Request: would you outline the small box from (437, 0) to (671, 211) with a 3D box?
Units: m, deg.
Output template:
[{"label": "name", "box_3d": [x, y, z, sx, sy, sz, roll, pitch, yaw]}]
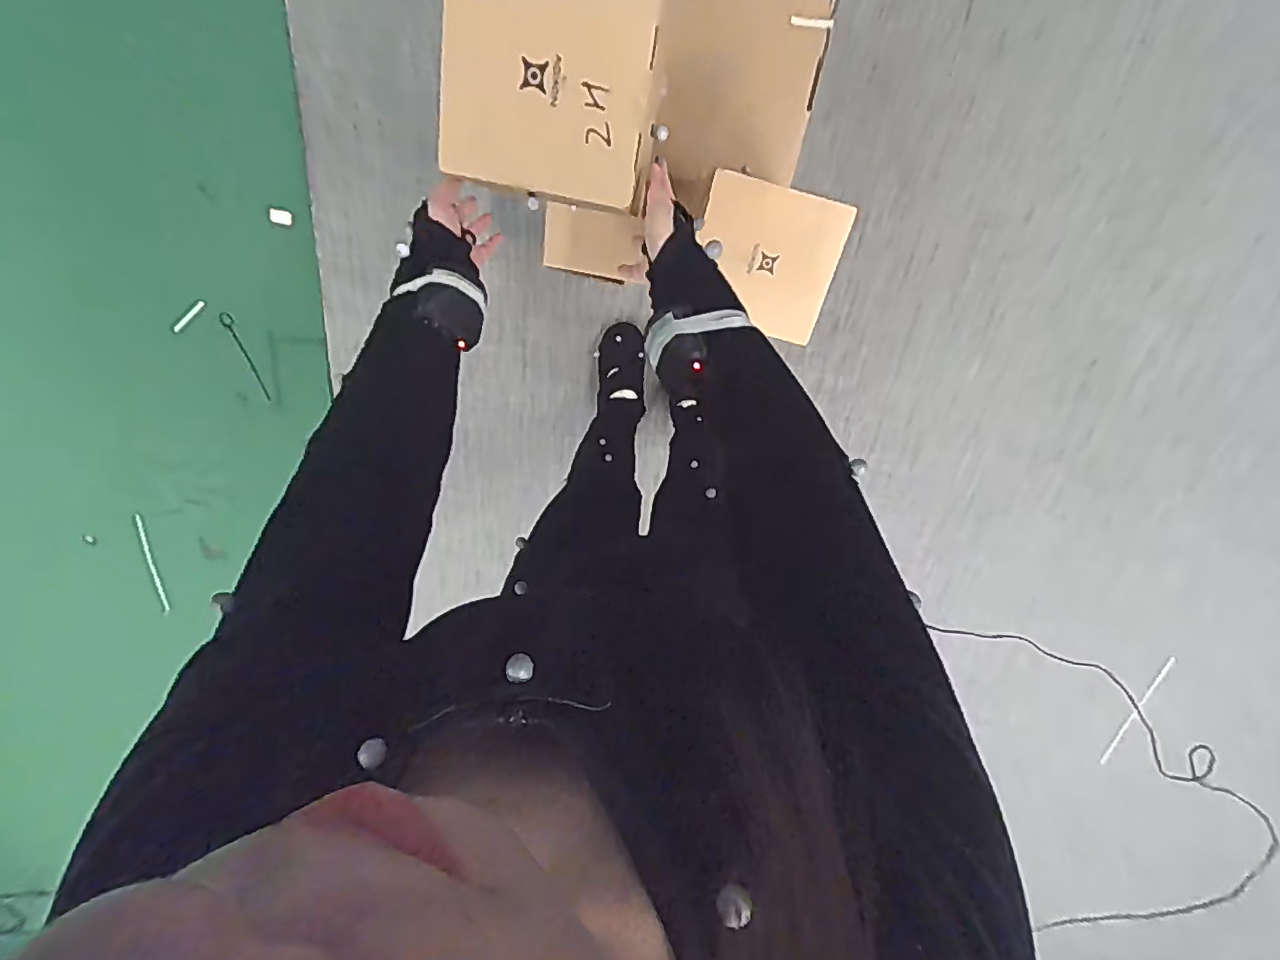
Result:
[{"label": "small box", "box_3d": [-0.072, -0.363, 0.515, 0.179, 0.176, 0.168, 12, 114, -2]}]

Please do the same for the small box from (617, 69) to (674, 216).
[{"label": "small box", "box_3d": [-0.051, -0.511, 0.809, 0.168, 0.176, 0.179, 13, 114, -2]}]

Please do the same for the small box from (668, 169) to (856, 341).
[{"label": "small box", "box_3d": [0.146, -0.294, 0.718, 0.179, 0.176, 0.168, 9, 112, -8]}]
